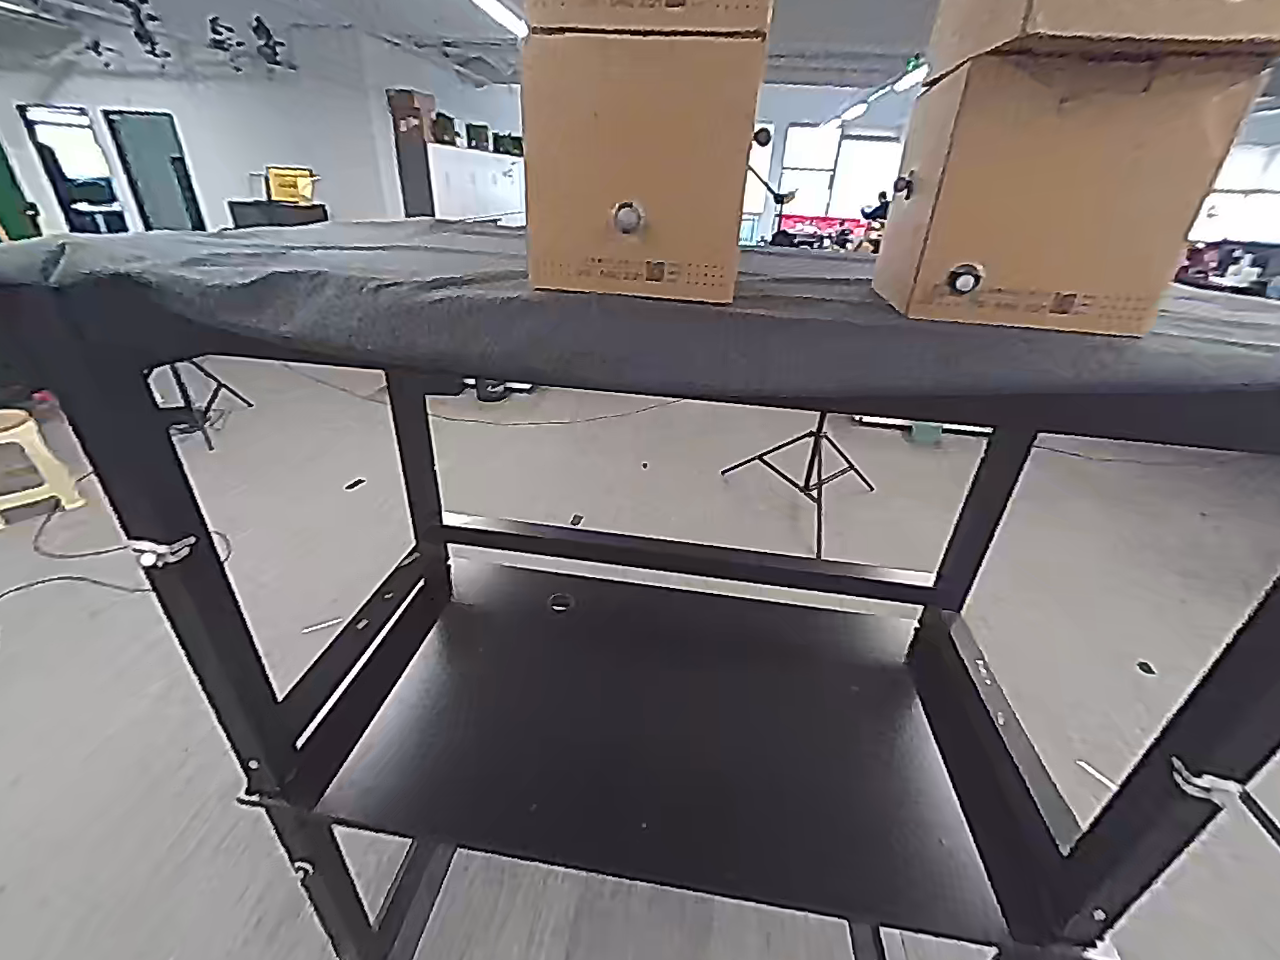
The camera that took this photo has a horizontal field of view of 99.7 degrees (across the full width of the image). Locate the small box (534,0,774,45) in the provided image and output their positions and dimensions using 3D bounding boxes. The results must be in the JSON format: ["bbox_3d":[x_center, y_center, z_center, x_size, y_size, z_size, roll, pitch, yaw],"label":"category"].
[{"bbox_3d":[0.020,-0.410,0.390,0.168,0.176,0.179,8,27,6],"label":"small box"}]

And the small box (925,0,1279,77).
[{"bbox_3d":[0.308,-0.359,0.333,0.168,0.176,0.179,6,27,3],"label":"small box"}]

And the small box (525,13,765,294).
[{"bbox_3d":[0.009,-0.263,0.462,0.168,0.176,0.179,6,27,7],"label":"small box"}]

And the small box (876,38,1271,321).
[{"bbox_3d":[0.306,-0.231,0.437,0.168,0.176,0.179,8,27,10],"label":"small box"}]
